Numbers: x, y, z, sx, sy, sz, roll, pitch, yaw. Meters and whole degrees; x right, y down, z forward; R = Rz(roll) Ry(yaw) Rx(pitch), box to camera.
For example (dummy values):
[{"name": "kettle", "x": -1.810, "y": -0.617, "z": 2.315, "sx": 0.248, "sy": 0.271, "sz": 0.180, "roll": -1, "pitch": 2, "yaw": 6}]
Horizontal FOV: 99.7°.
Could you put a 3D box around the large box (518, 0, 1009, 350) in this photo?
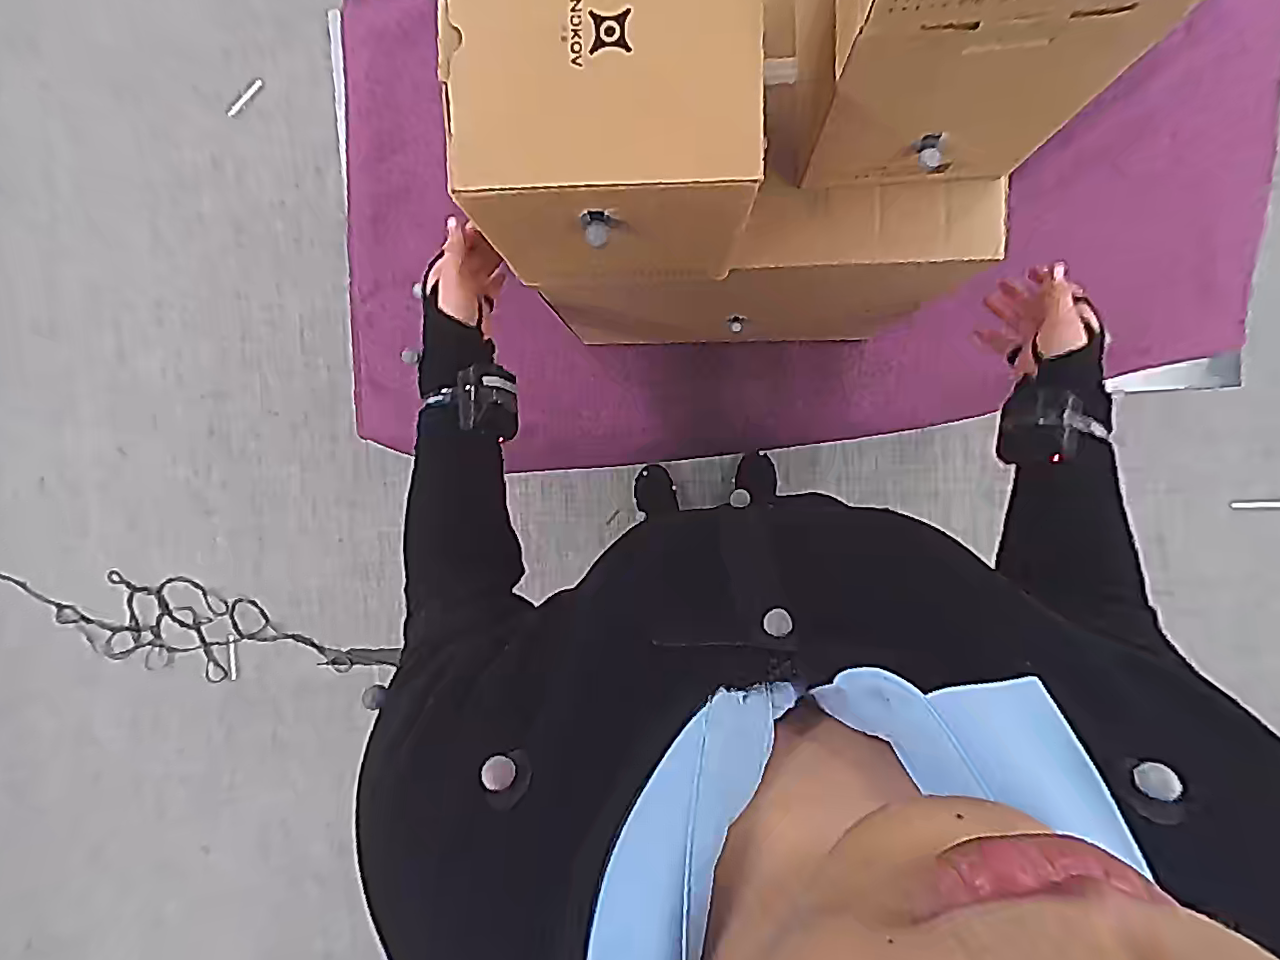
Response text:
[{"name": "large box", "x": 0.110, "y": -0.334, "z": 0.596, "sx": 0.408, "sy": 0.320, "sz": 0.320, "roll": -1, "pitch": 91, "yaw": 5}]

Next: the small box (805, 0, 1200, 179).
[{"name": "small box", "x": 0.204, "y": -0.325, "z": 0.343, "sx": 0.168, "sy": 0.176, "sz": 0.179, "roll": -1, "pitch": 92, "yaw": 6}]
